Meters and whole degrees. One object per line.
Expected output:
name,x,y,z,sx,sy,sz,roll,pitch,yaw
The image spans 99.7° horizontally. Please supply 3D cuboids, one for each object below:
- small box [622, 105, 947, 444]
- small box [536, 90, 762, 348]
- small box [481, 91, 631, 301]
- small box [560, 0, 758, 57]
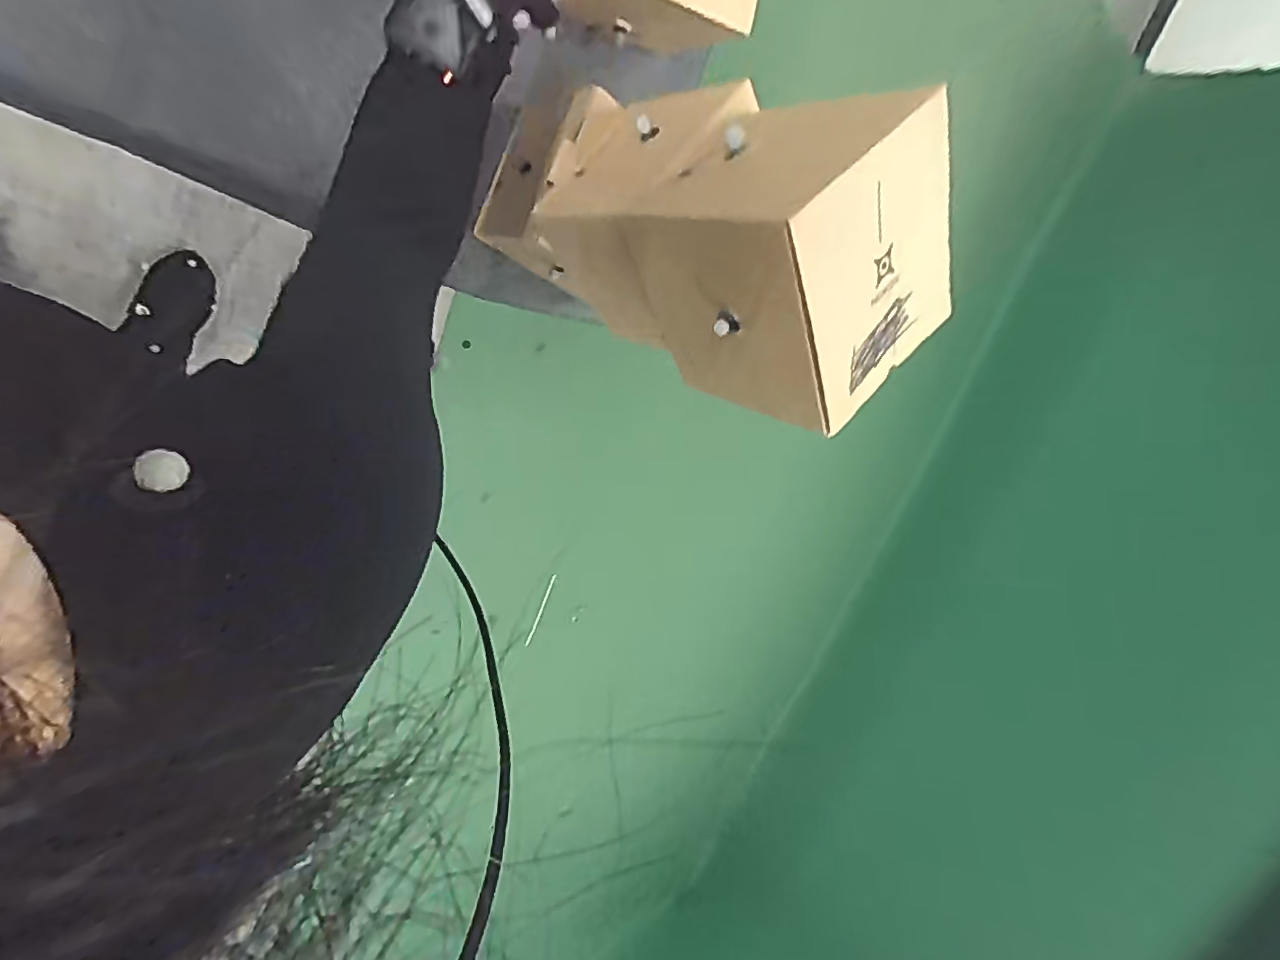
small box,0.117,-0.164,0.436,0.168,0.176,0.179,-43,133,-16
small box,0.028,-0.246,0.550,0.168,0.176,0.179,-50,135,-9
small box,-0.066,-0.323,0.661,0.179,0.176,0.168,19,99,-43
small box,0.024,-0.591,0.582,0.168,0.176,0.179,-8,121,-33
